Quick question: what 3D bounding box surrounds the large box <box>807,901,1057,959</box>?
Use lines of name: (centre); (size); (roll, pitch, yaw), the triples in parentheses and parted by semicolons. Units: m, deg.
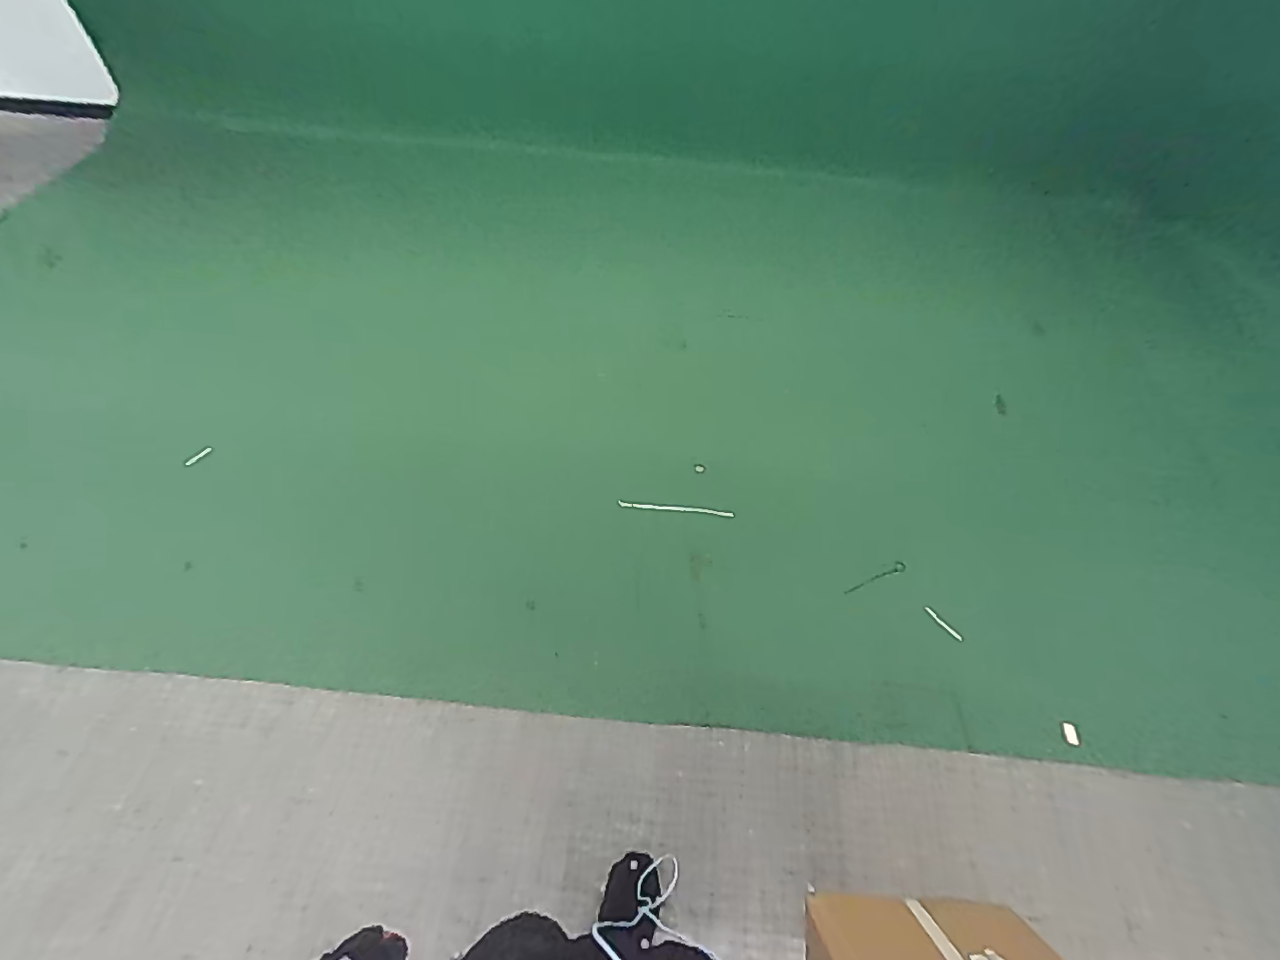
large box: (0.402, 0.772, 0.605); (0.320, 0.408, 0.320); (3, 83, 1)
